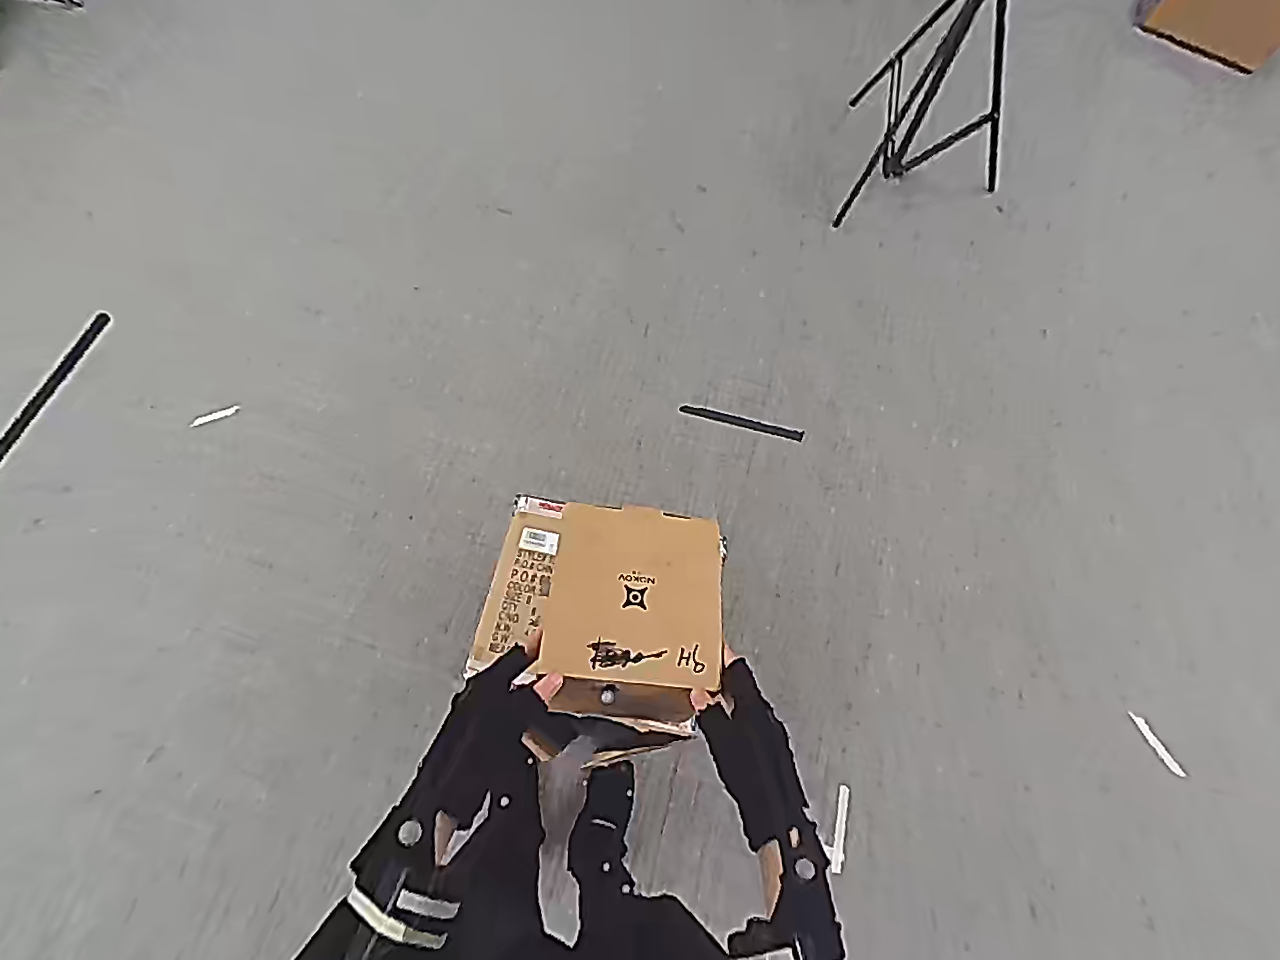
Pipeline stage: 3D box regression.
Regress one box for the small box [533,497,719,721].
[{"bbox_3d":[-0.017,0.142,0.576,0.168,0.176,0.179,7,56,-4],"label":"small box"}]
